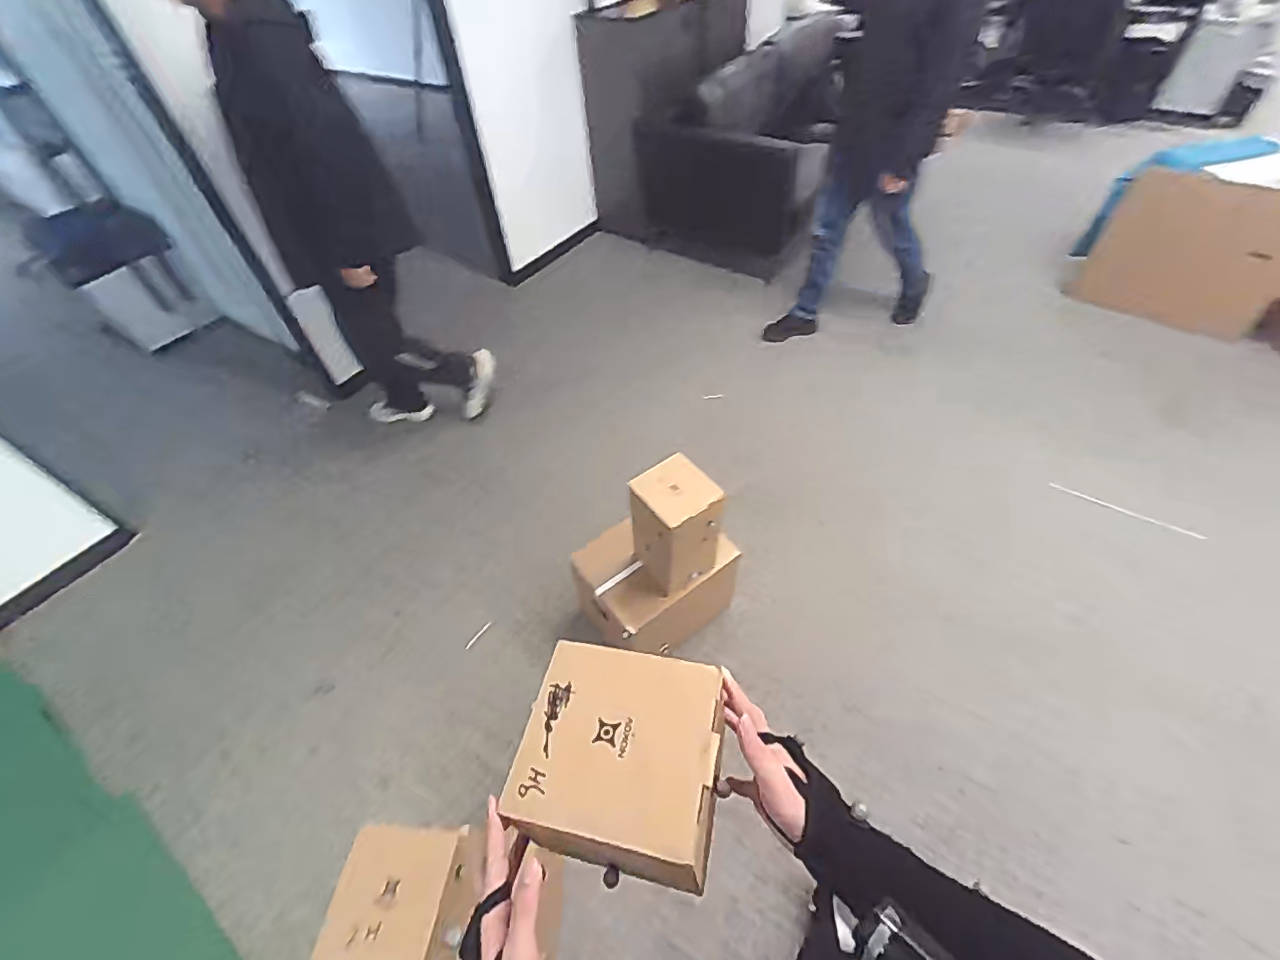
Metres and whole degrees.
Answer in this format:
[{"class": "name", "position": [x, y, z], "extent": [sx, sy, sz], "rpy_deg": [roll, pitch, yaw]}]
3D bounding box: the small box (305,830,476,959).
[{"class": "small box", "position": [-0.375, 0.678, 0.852], "extent": [0.168, 0.176, 0.179], "rpy_deg": [3, 49, 7]}]

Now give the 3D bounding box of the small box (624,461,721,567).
[{"class": "small box", "position": [0.081, 0.092, 1.343], "extent": [0.168, 0.176, 0.179], "rpy_deg": [-30, 54, -22]}]

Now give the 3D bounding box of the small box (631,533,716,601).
[{"class": "small box", "position": [0.086, 0.194, 1.470], "extent": [0.168, 0.176, 0.179], "rpy_deg": [-29, 55, -20]}]

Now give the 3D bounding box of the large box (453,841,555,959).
[{"class": "large box", "position": [-0.369, 1.002, 1.115], "extent": [0.320, 0.320, 0.408], "rpy_deg": [-2, 50, 4]}]
